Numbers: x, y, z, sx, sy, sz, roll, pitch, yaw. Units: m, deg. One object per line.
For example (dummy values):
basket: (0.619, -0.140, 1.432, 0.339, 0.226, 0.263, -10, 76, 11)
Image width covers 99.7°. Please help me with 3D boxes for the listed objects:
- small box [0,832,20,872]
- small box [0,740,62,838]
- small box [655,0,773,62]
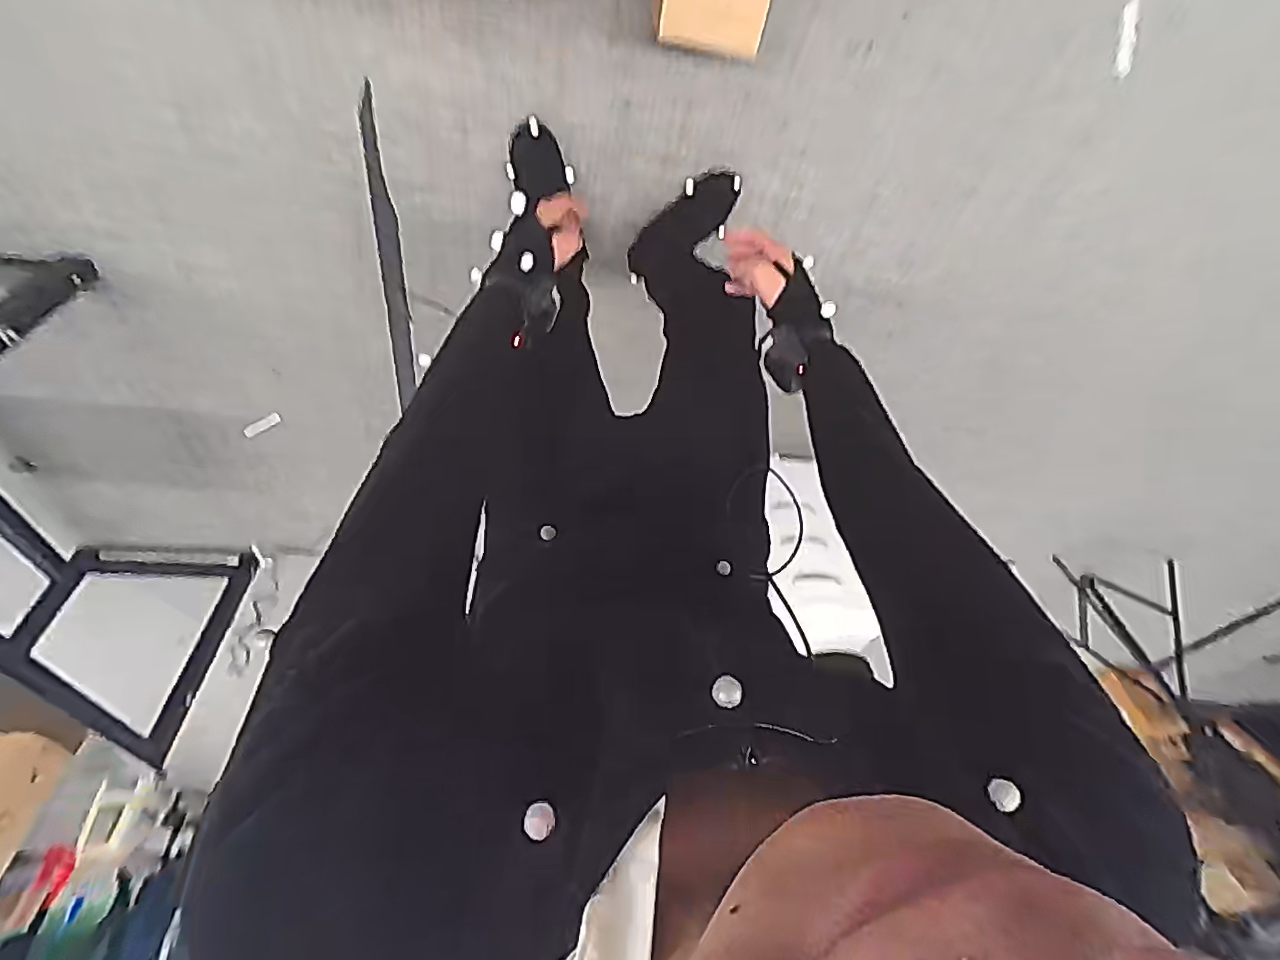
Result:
small box: (-1.479, 0.822, 1.114, 0.179, 0.176, 0.168, 4, 136, -10)
small box: (-1.489, 0.703, 1.228, 0.179, 0.176, 0.168, 3, 136, -9)
small box: (0.120, -0.805, 0.861, 0.168, 0.176, 0.179, 4, 137, -9)
